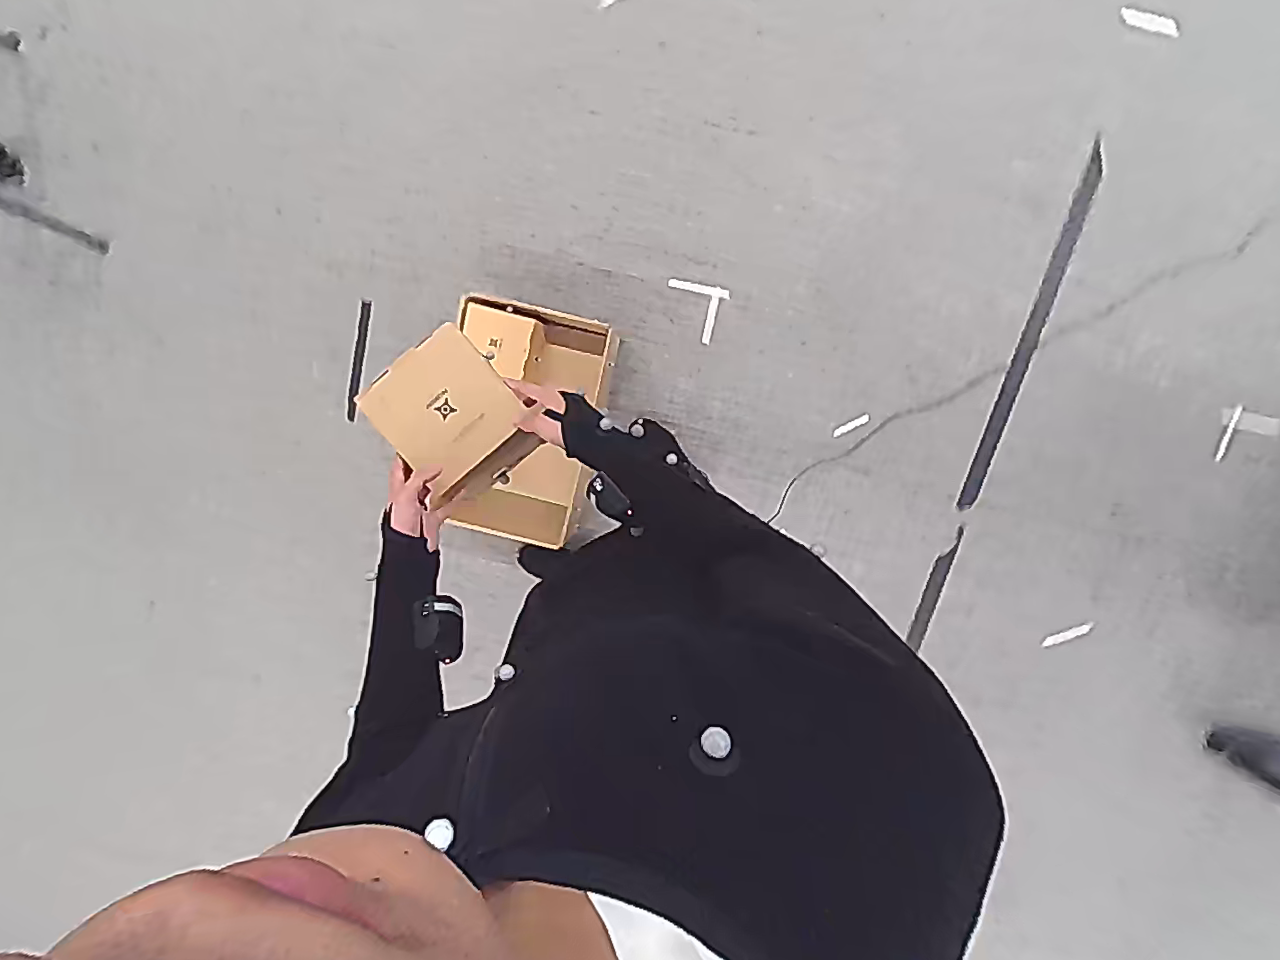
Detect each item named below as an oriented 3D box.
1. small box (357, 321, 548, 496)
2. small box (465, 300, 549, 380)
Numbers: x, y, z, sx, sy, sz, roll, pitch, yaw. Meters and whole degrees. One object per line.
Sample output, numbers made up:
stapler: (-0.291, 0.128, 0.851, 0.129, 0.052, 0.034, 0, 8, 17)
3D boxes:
small box: (-0.257, -0.090, 0.785, 0.168, 0.176, 0.179, -42, 88, -4)
small box: (-0.360, -0.368, 1.452, 0.179, 0.176, 0.168, 15, 101, -1)
